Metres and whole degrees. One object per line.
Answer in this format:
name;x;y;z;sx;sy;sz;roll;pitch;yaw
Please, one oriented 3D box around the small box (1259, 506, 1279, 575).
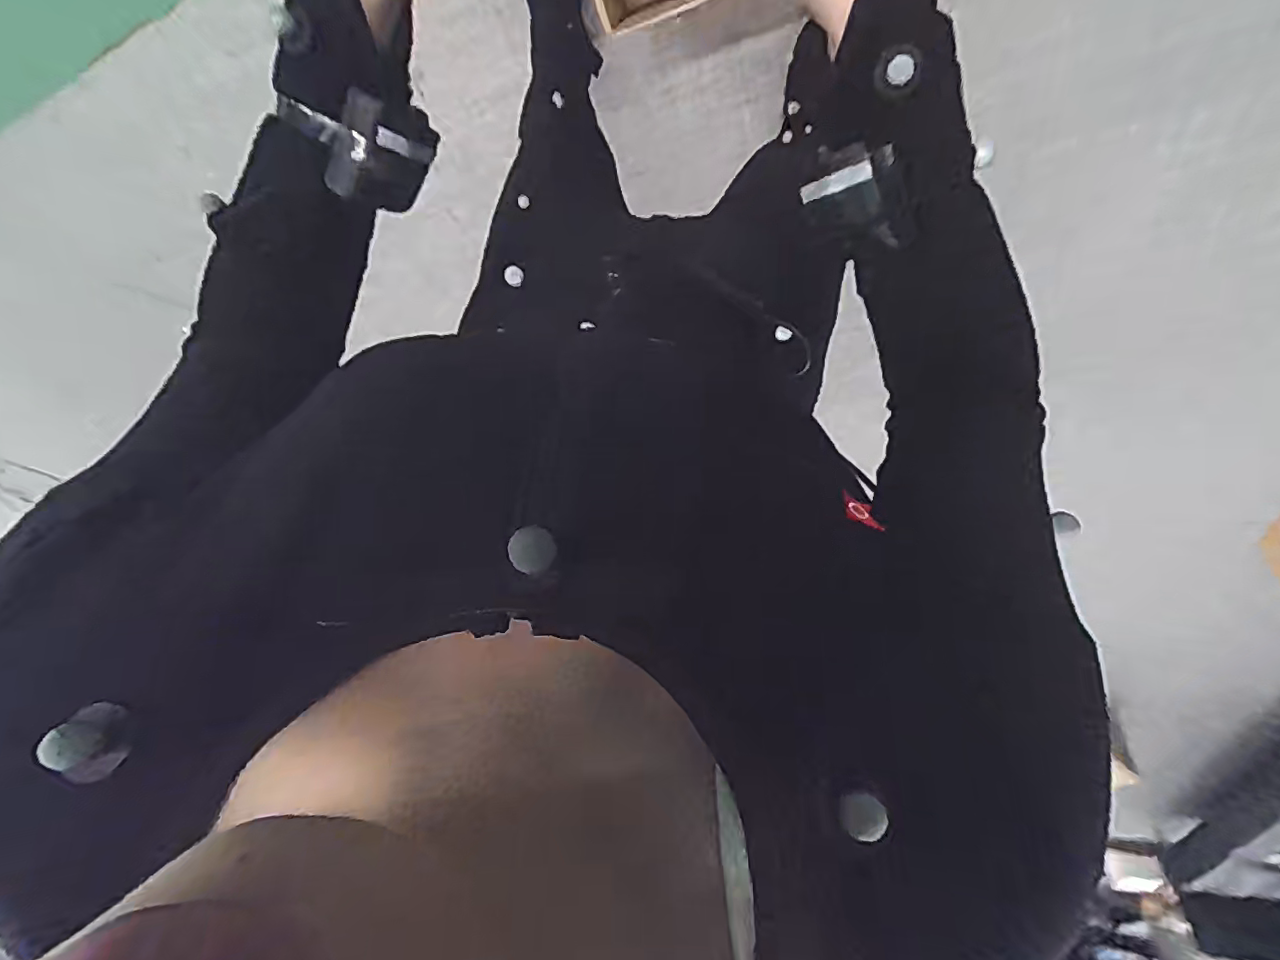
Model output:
small box;1.968;0.176;1.563;0.168;0.176;0.179;-6;136;21
